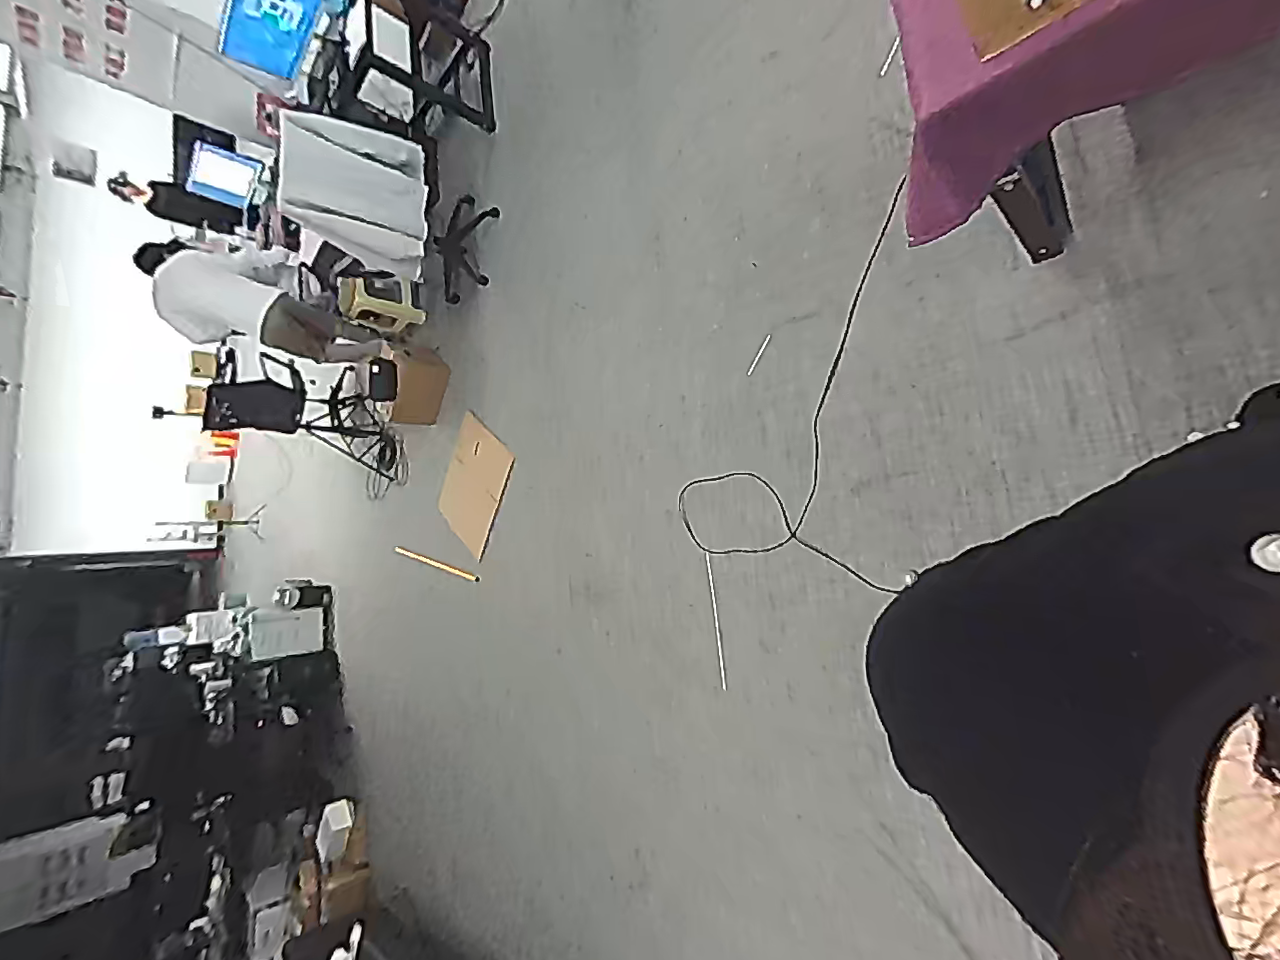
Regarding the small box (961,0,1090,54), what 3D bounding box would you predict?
[{"bbox_3d":[0.457,-0.661,0.623,0.168,0.176,0.179,-11,80,44],"label":"small box"}]
